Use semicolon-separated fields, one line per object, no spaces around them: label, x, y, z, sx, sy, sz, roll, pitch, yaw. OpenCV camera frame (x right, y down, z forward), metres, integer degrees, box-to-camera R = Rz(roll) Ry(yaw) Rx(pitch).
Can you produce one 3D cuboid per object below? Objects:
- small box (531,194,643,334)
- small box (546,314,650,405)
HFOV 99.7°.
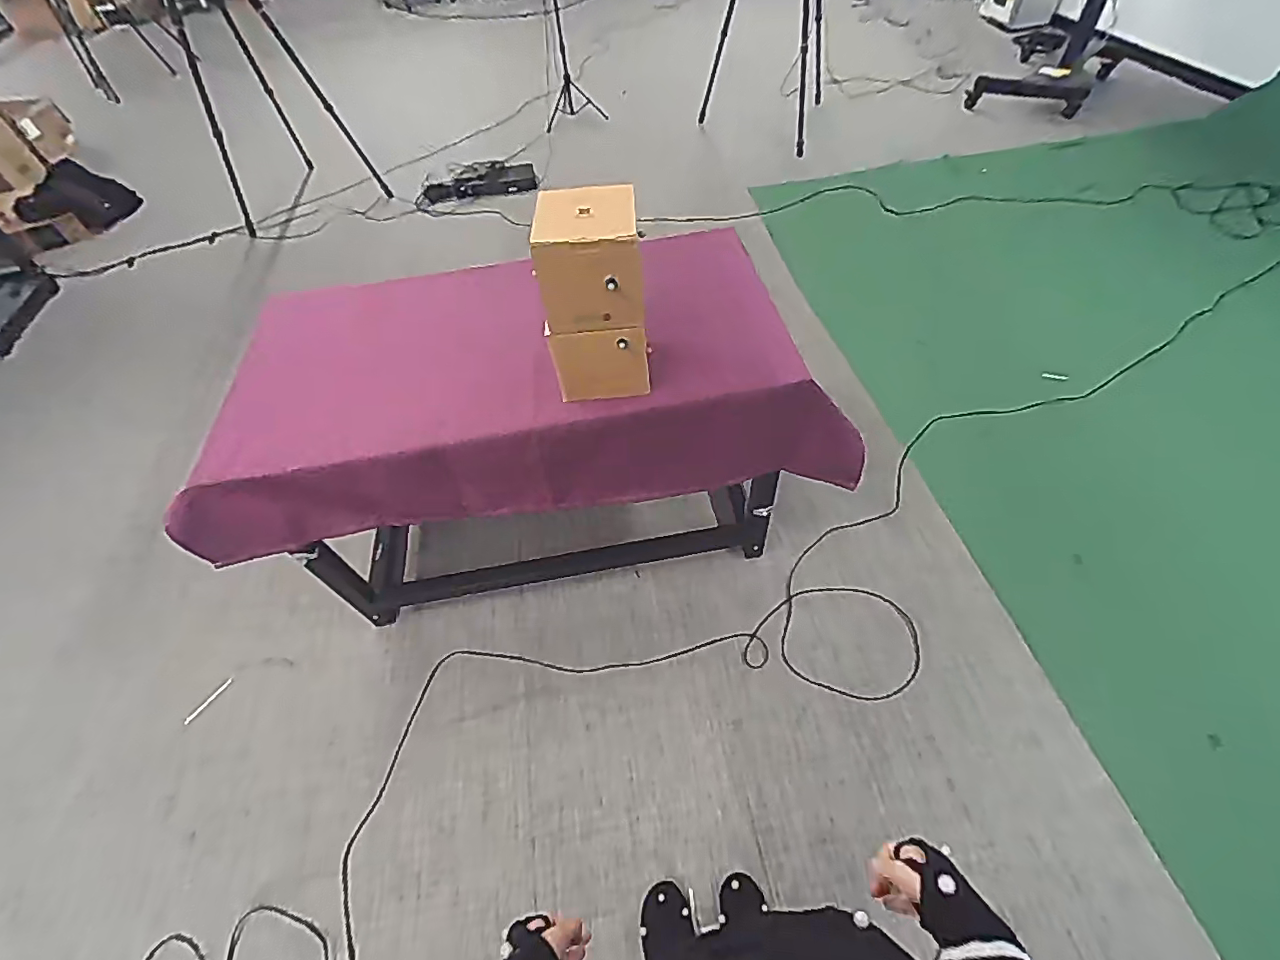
small box;-0.083;-0.370;0.944;0.168;0.176;0.179;-3;50;2
small box;-0.077;-0.265;1.068;0.179;0.176;0.168;-6;51;2
